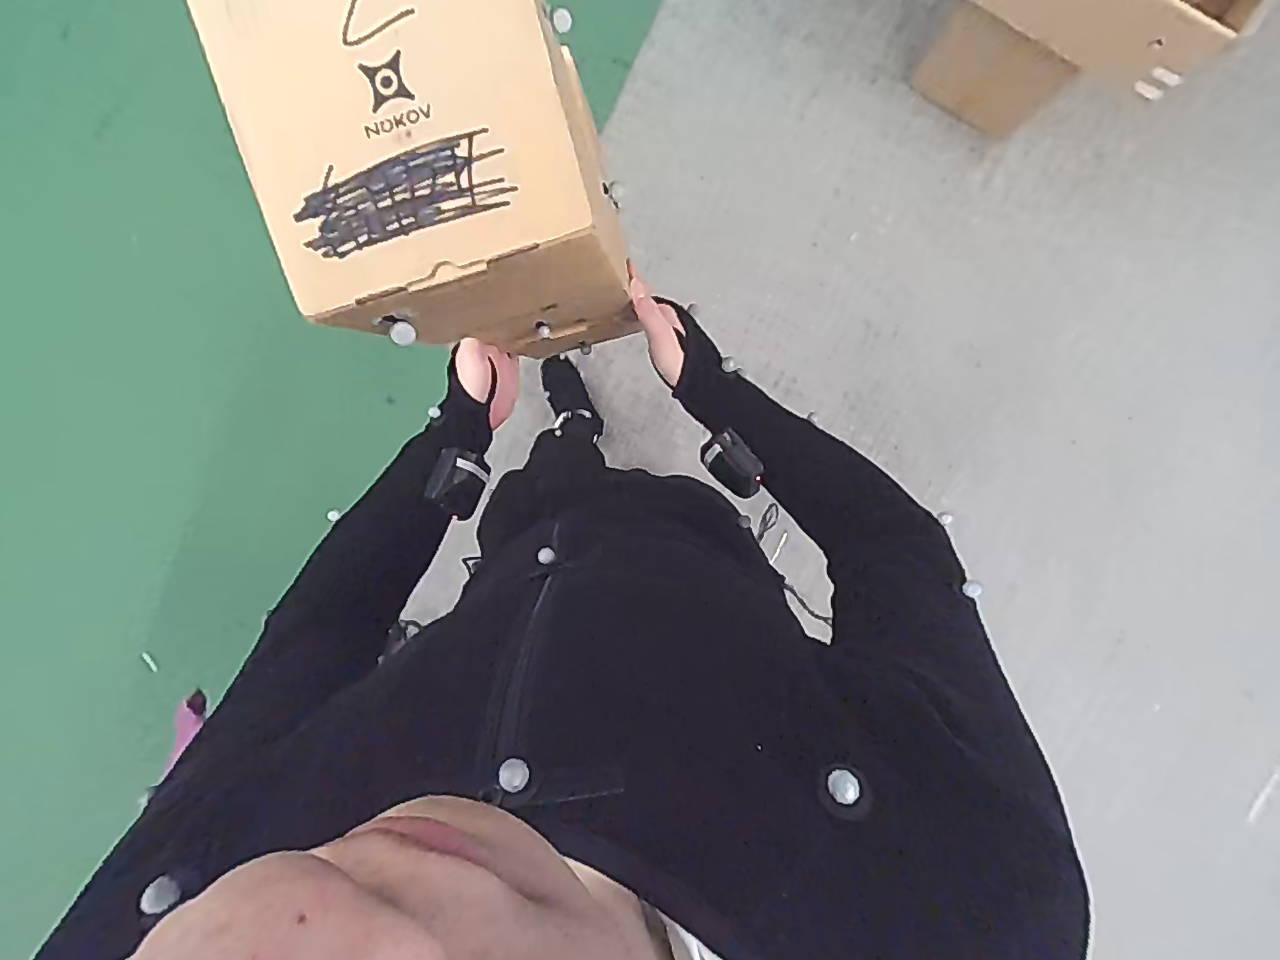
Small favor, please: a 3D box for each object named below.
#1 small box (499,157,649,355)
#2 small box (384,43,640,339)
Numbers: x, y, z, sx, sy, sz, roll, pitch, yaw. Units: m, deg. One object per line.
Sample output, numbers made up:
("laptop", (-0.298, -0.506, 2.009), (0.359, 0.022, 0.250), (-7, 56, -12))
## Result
("small box", (-0.087, -0.260, 0.659), (0.168, 0.176, 0.179), (-12, 99, 6))
("small box", (-0.097, -0.240, 0.498), (0.168, 0.176, 0.179), (-12, 99, 5))
